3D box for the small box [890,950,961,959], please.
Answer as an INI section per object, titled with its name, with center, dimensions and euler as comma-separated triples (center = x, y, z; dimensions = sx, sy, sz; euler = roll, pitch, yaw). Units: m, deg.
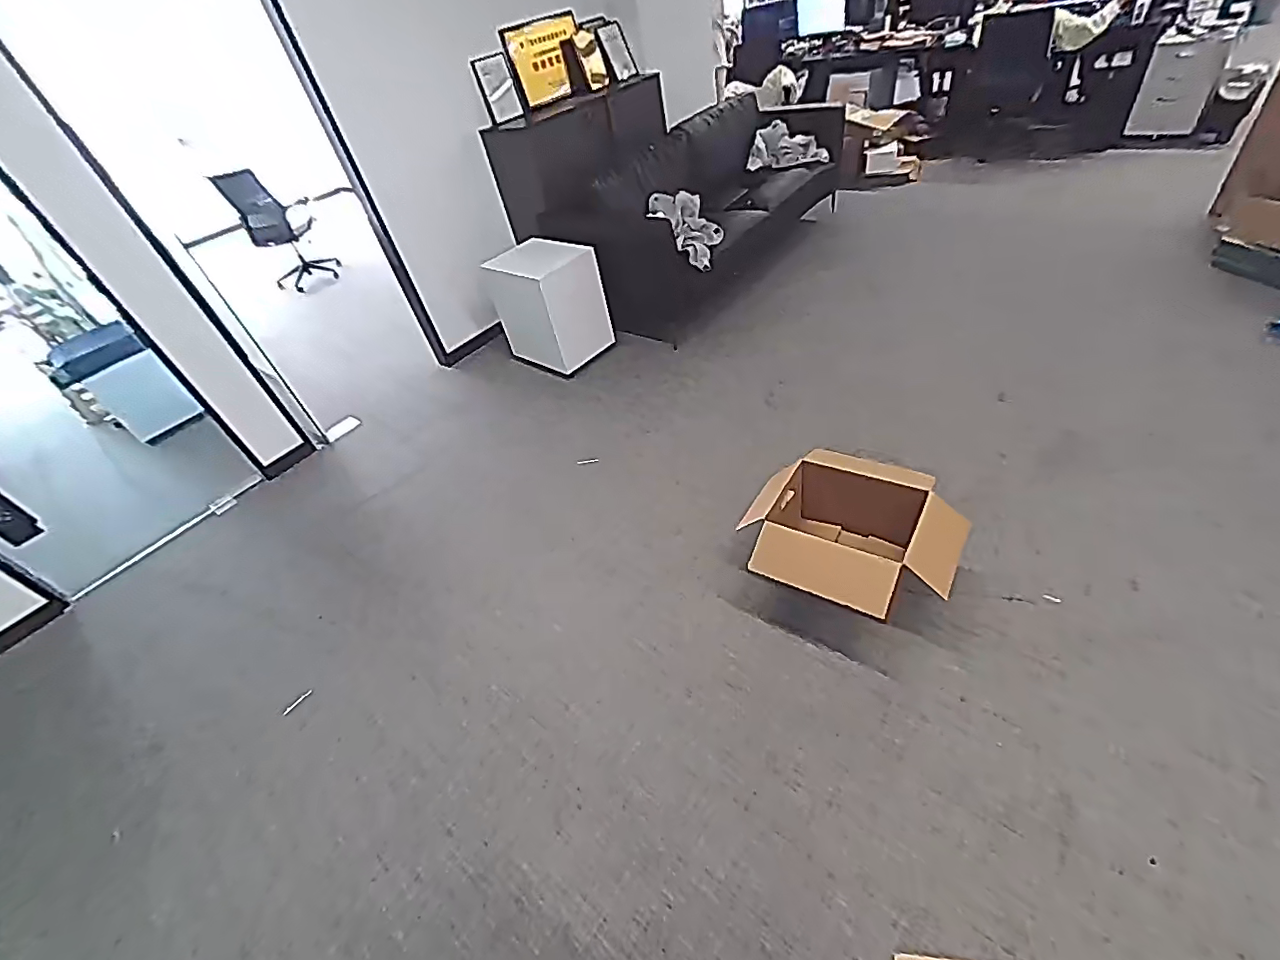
[small box]
center = 0.381, 0.681, 0.590
dimensions = 0.168, 0.176, 0.179
euler = -7, 9, 18
